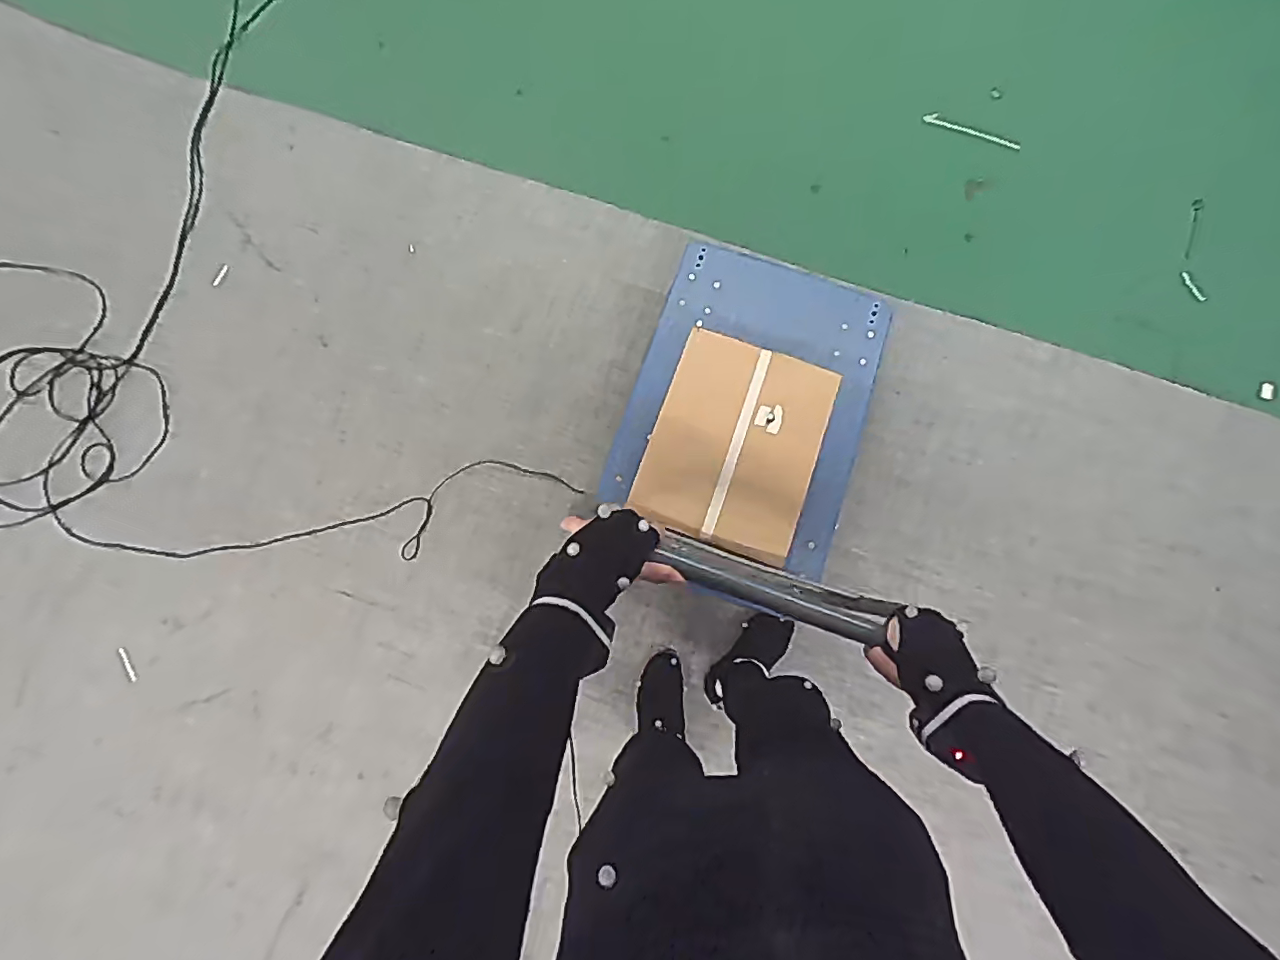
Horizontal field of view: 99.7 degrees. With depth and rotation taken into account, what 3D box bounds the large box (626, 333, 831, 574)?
[{"bbox_3d":[0.175,-0.036,1.190,0.320,0.320,0.408,20,78,2],"label":"large box"}]
